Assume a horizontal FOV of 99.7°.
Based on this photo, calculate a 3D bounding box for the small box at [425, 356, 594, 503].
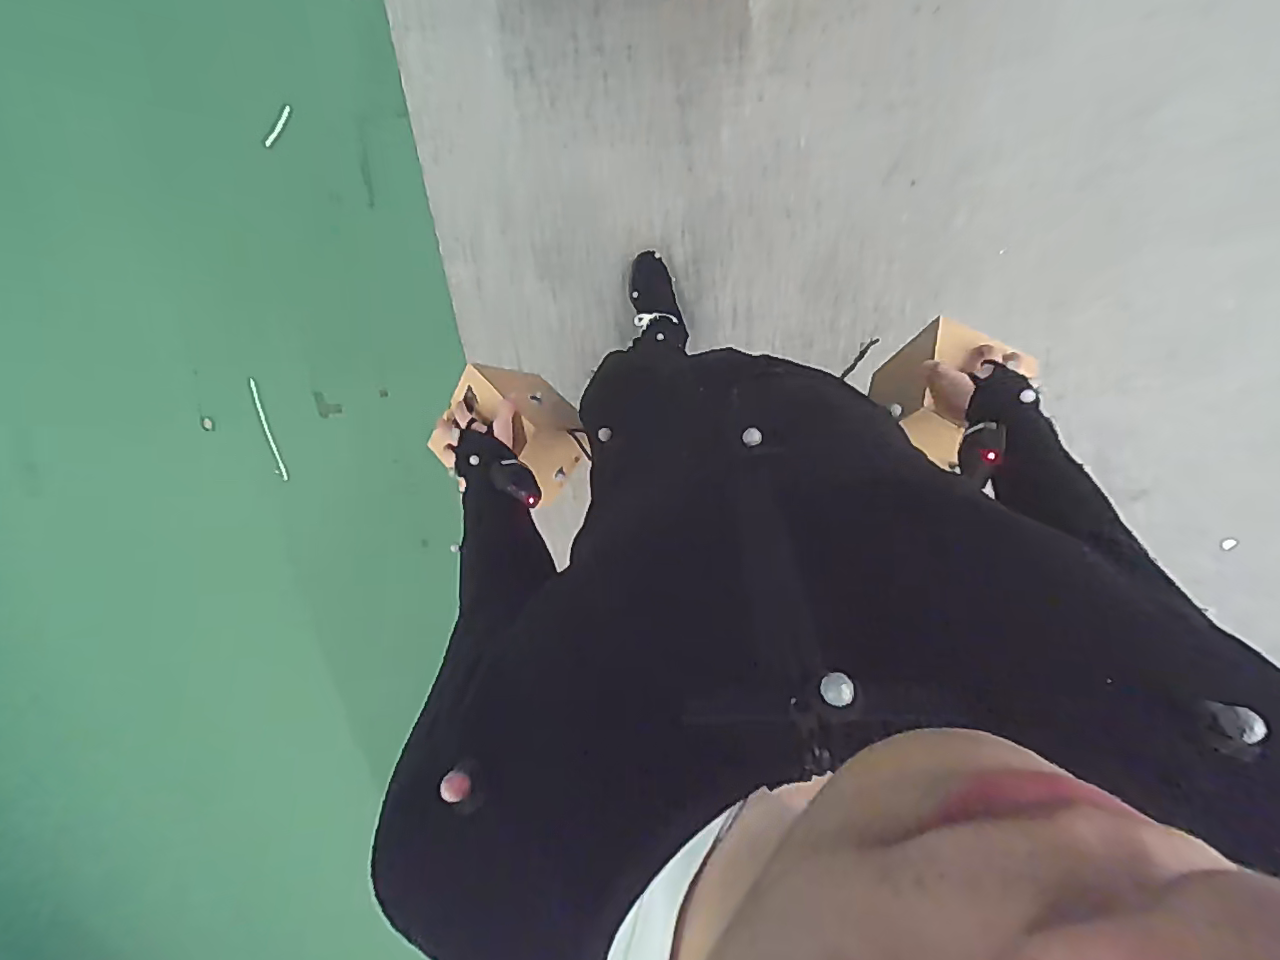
[{"bbox_3d":[-0.214,-0.082,0.901,0.179,0.176,0.168,42,113,20],"label":"small box"}]

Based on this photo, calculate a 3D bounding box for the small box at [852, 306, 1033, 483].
[{"bbox_3d":[0.452,-0.120,0.826,0.168,0.176,0.179,25,66,-3],"label":"small box"}]
